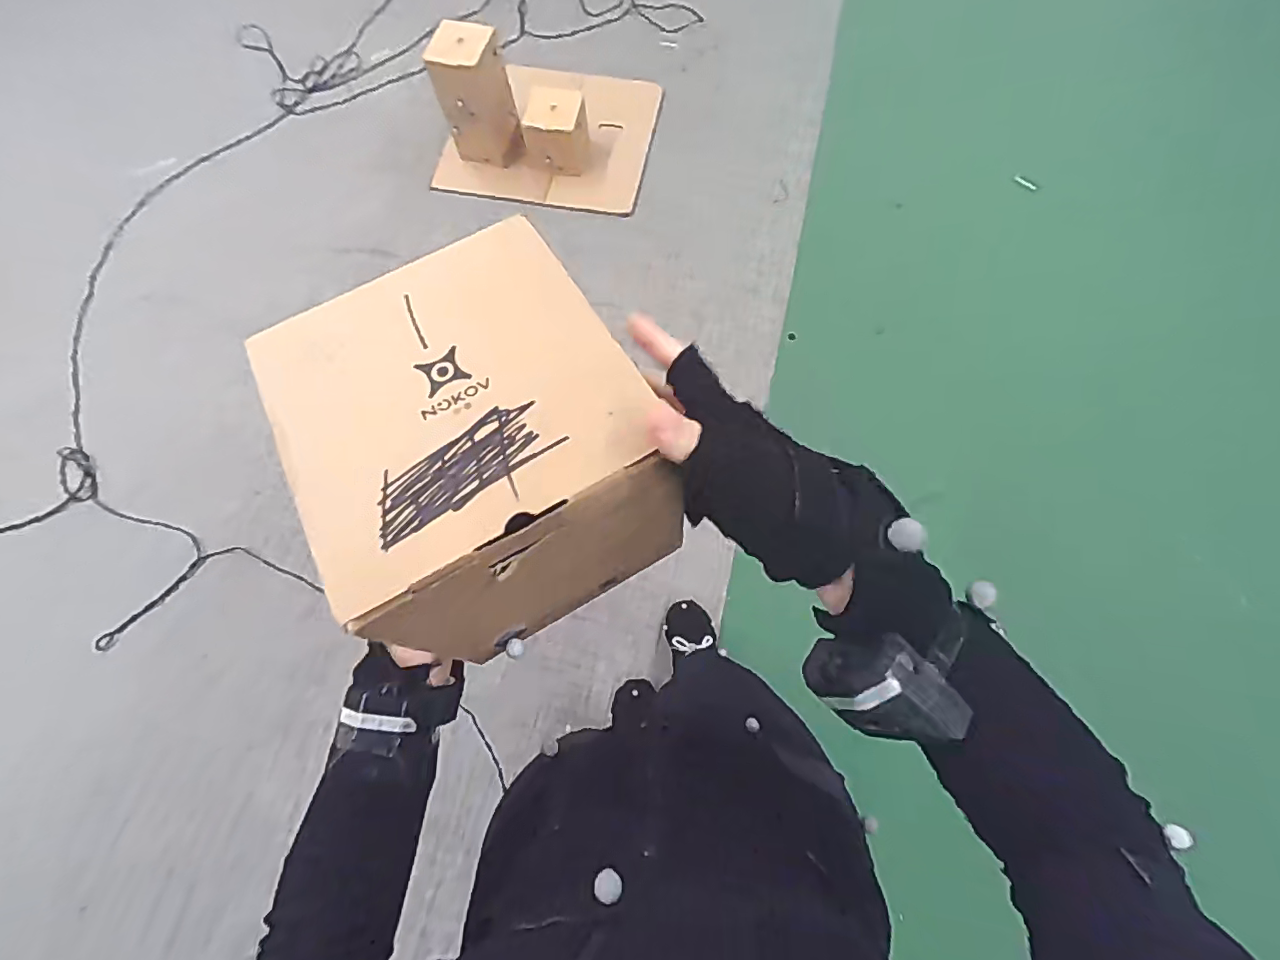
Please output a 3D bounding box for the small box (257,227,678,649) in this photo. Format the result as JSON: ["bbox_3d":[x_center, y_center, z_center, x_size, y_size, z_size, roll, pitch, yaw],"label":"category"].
[{"bbox_3d":[-0.087,-0.010,0.342,0.168,0.176,0.179,-29,67,-10],"label":"small box"}]

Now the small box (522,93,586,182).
[{"bbox_3d":[-0.275,-1.125,1.781,0.168,0.176,0.179,9,72,4],"label":"small box"}]

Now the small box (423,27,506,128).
[{"bbox_3d":[-0.521,-1.217,1.640,0.168,0.176,0.179,13,72,7],"label":"small box"}]
